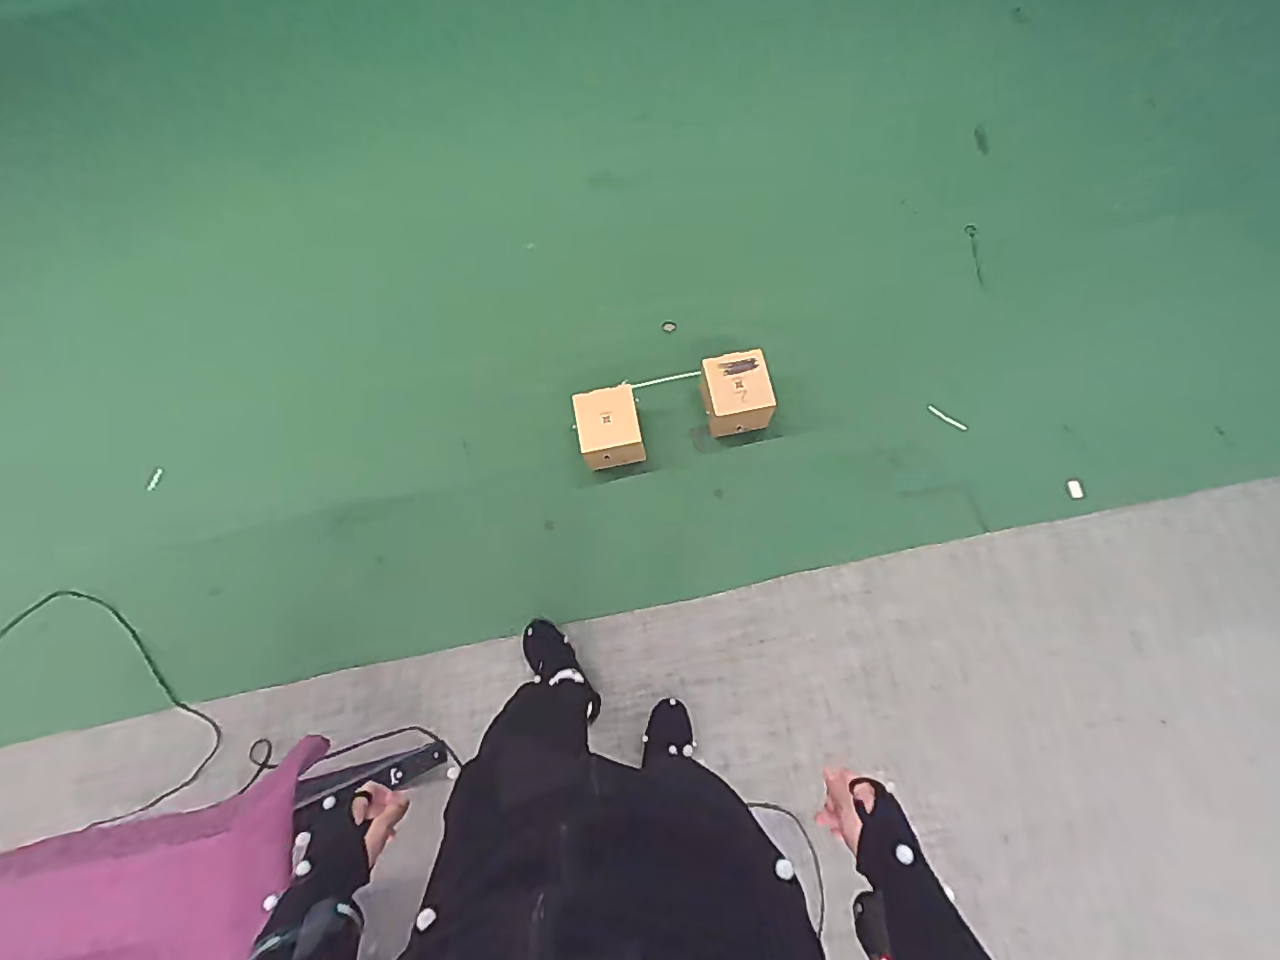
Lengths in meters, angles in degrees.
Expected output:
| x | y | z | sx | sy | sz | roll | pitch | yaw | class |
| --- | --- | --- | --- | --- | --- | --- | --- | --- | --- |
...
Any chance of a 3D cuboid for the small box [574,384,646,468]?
| x | y | z | sx | sy | sz | roll | pitch | yaw | class |
| --- | --- | --- | --- | --- | --- | --- | --- | --- | --- |
| -0.080 | -0.143 | 1.529 | 0.168 | 0.176 | 0.179 | -12 | 73 | 1 | small box |
